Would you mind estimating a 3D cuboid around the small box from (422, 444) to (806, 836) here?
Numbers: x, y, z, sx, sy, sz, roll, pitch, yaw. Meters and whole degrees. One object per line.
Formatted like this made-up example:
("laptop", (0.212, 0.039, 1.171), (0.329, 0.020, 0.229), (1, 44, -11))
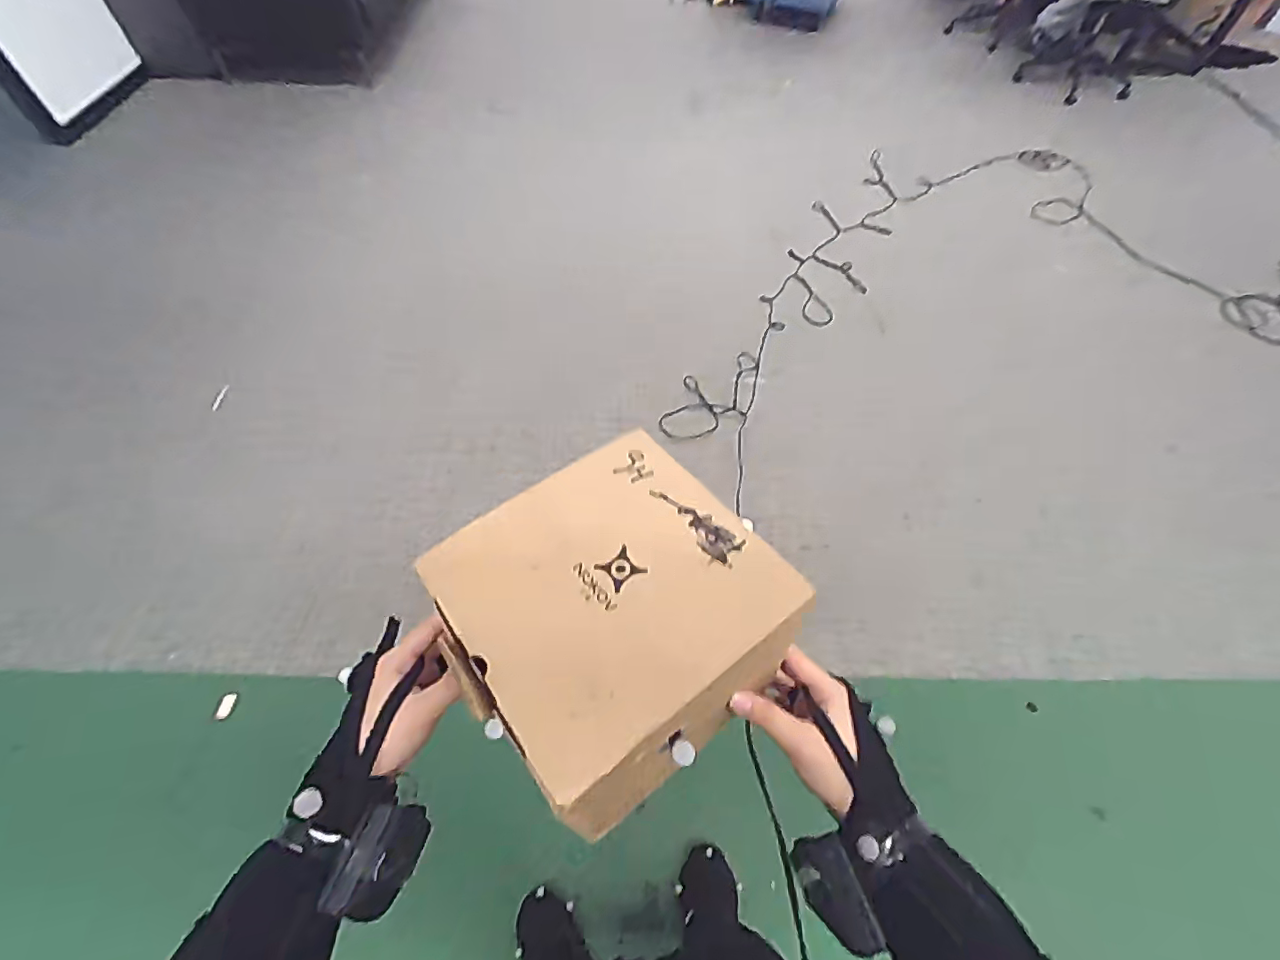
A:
("small box", (-0.015, 0.115, 0.381), (0.179, 0.176, 0.168), (-33, 58, -21))
